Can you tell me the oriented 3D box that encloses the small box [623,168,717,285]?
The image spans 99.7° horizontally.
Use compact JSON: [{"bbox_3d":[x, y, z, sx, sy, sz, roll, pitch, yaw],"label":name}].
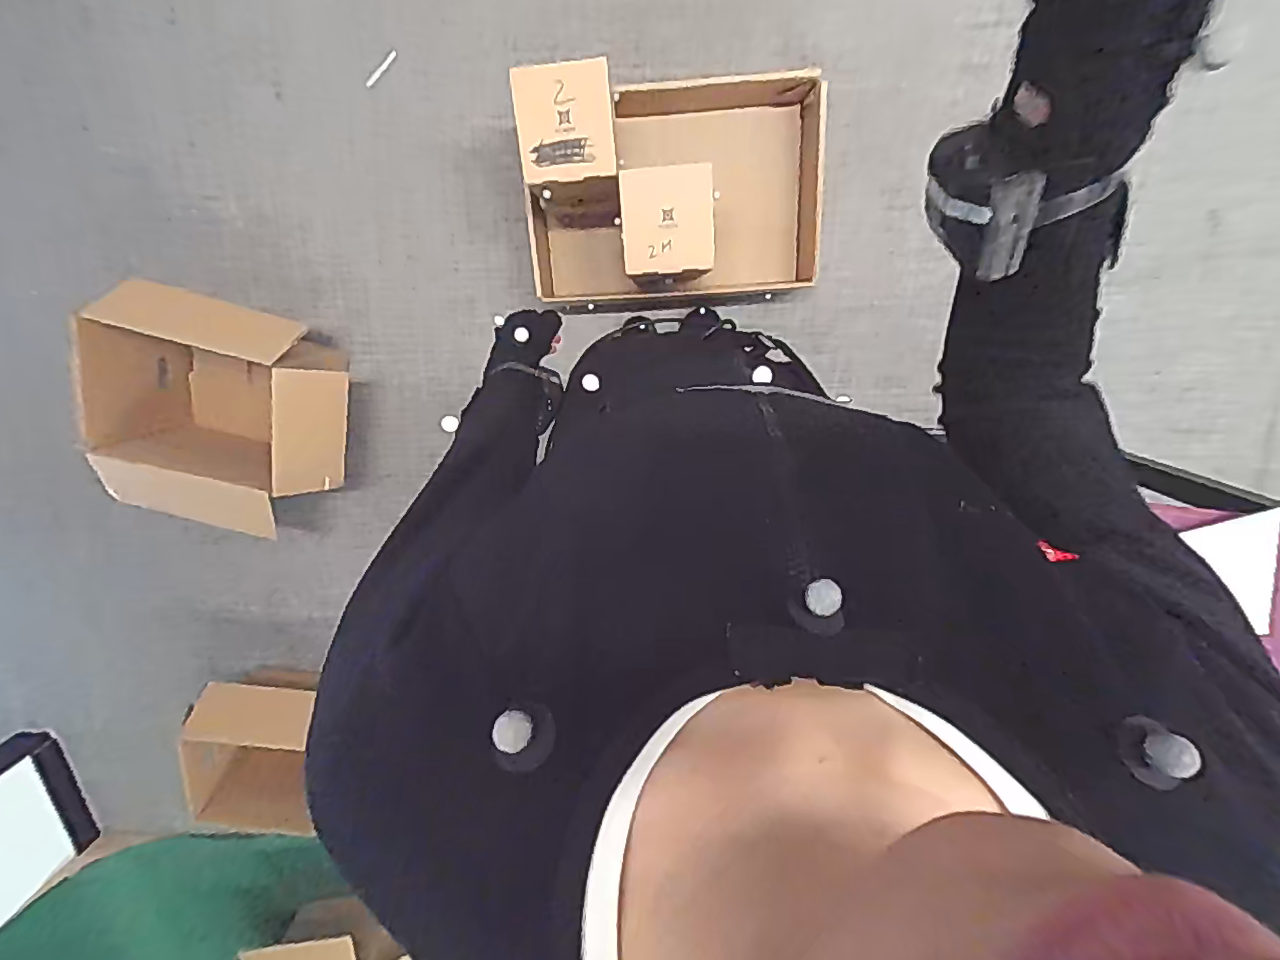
[{"bbox_3d":[0.056,-0.477,1.038,0.168,0.176,0.179,-3,107,3],"label":"small box"}]
